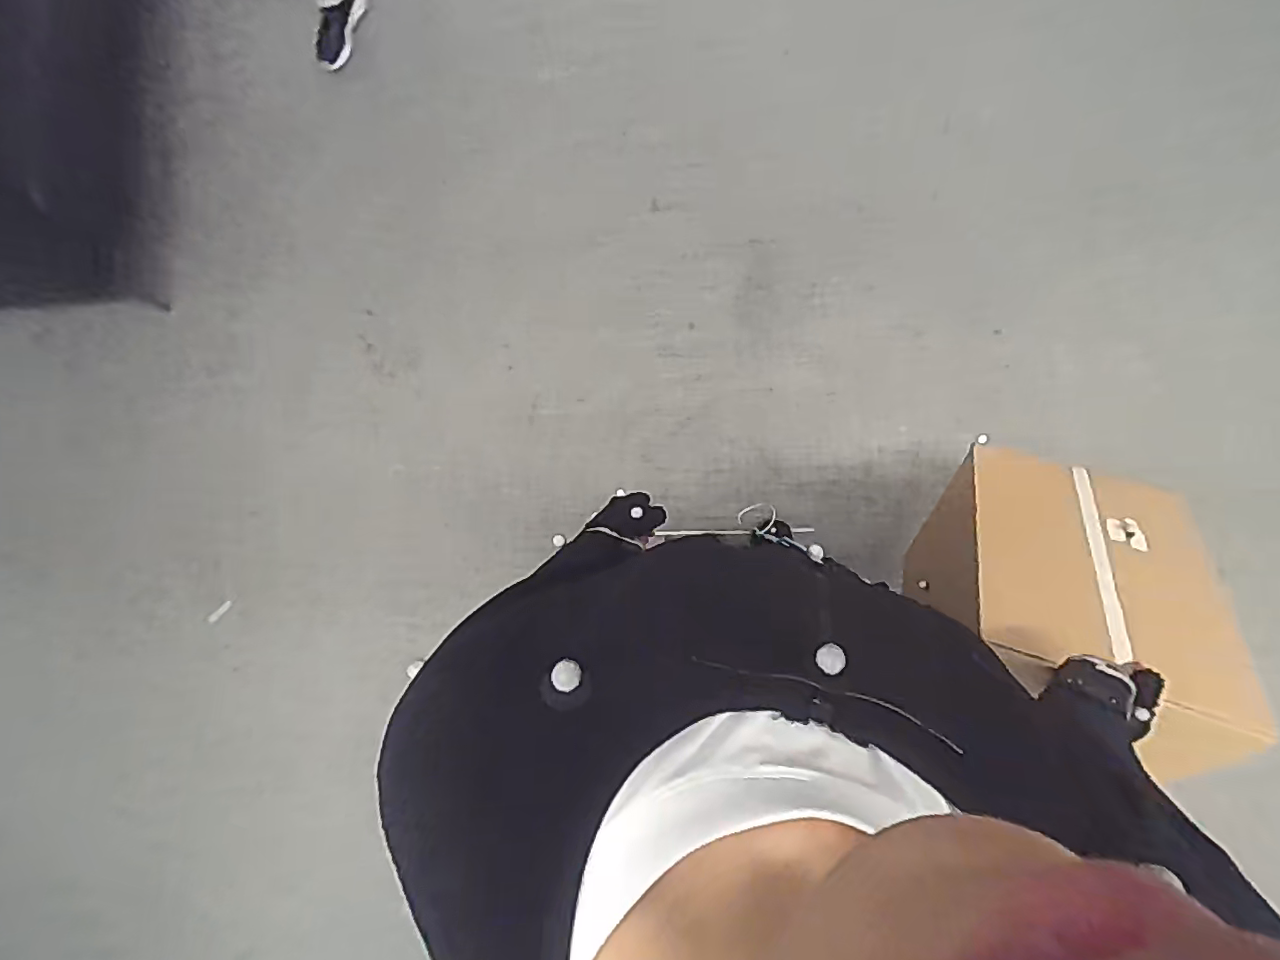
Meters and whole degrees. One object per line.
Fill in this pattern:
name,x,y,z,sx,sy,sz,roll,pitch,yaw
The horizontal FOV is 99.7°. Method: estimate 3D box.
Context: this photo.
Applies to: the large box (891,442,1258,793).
large box,0.632,0.211,0.883,0.320,0.320,0.408,19,49,13
